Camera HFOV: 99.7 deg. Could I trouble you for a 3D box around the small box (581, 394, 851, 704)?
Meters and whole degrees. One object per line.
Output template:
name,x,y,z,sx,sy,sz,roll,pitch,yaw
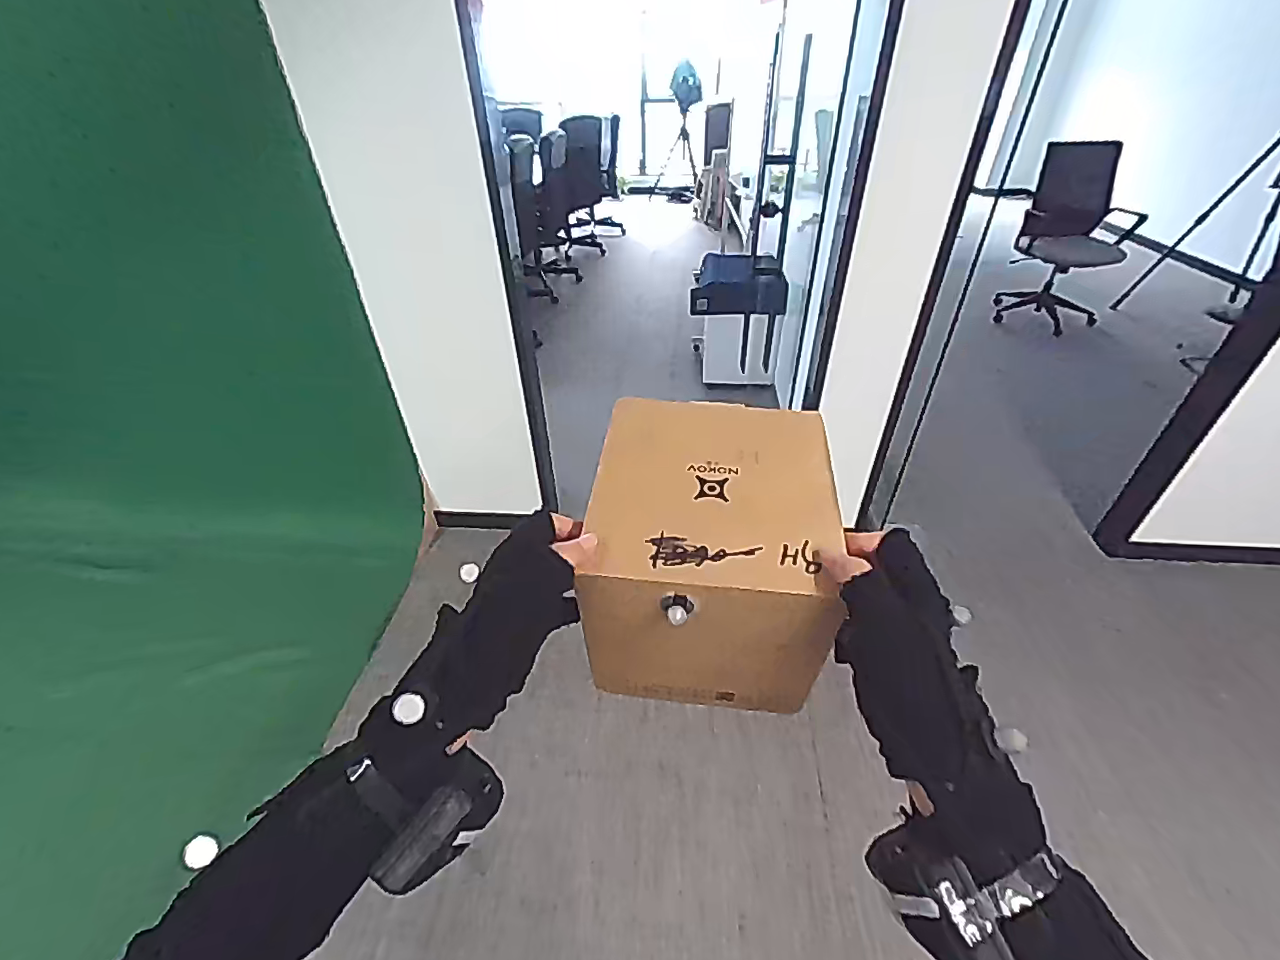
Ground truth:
small box,0.056,0.052,0.438,0.168,0.176,0.179,4,45,7
